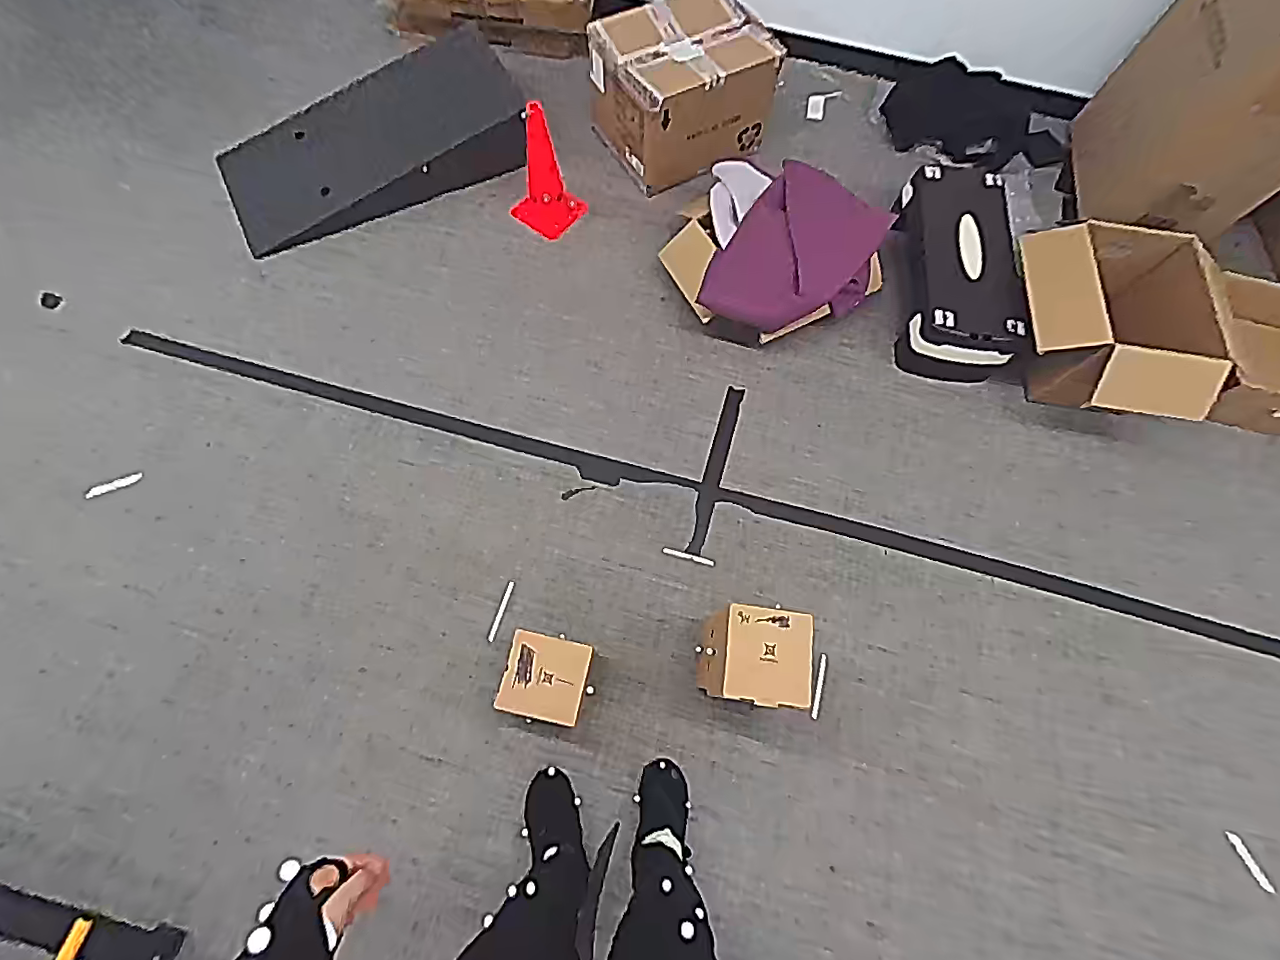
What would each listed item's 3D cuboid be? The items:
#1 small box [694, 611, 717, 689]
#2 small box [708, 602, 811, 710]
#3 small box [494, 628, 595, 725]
[{"bbox_3d":[0.233,0.409,1.255,0.179,0.176,0.168,10,69,1],"label":"small box"},{"bbox_3d":[0.236,0.358,1.099,0.168,0.176,0.179,9,70,0],"label":"small box"},{"bbox_3d":[-0.206,0.443,1.219,0.179,0.176,0.168,13,69,2],"label":"small box"}]
